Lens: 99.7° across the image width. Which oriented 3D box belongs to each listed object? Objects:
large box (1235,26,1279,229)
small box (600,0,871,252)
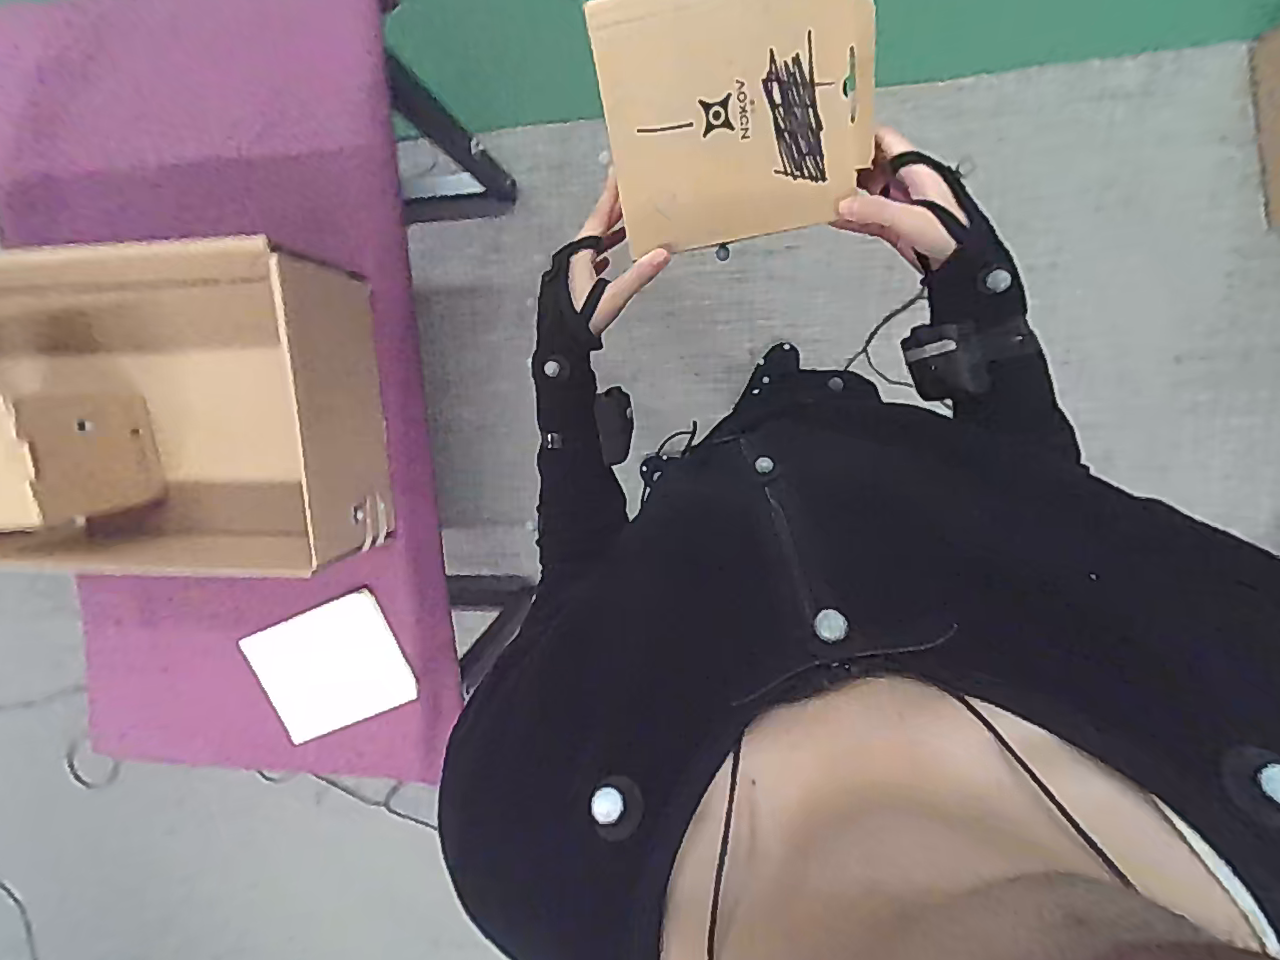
[{"bbox_3d":[1.518,-0.786,1.067,0.320,0.320,0.408,-16,96,8],"label":"large box"},{"bbox_3d":[0.072,-0.293,0.446,0.179,0.176,0.168,-9,113,6],"label":"small box"}]
